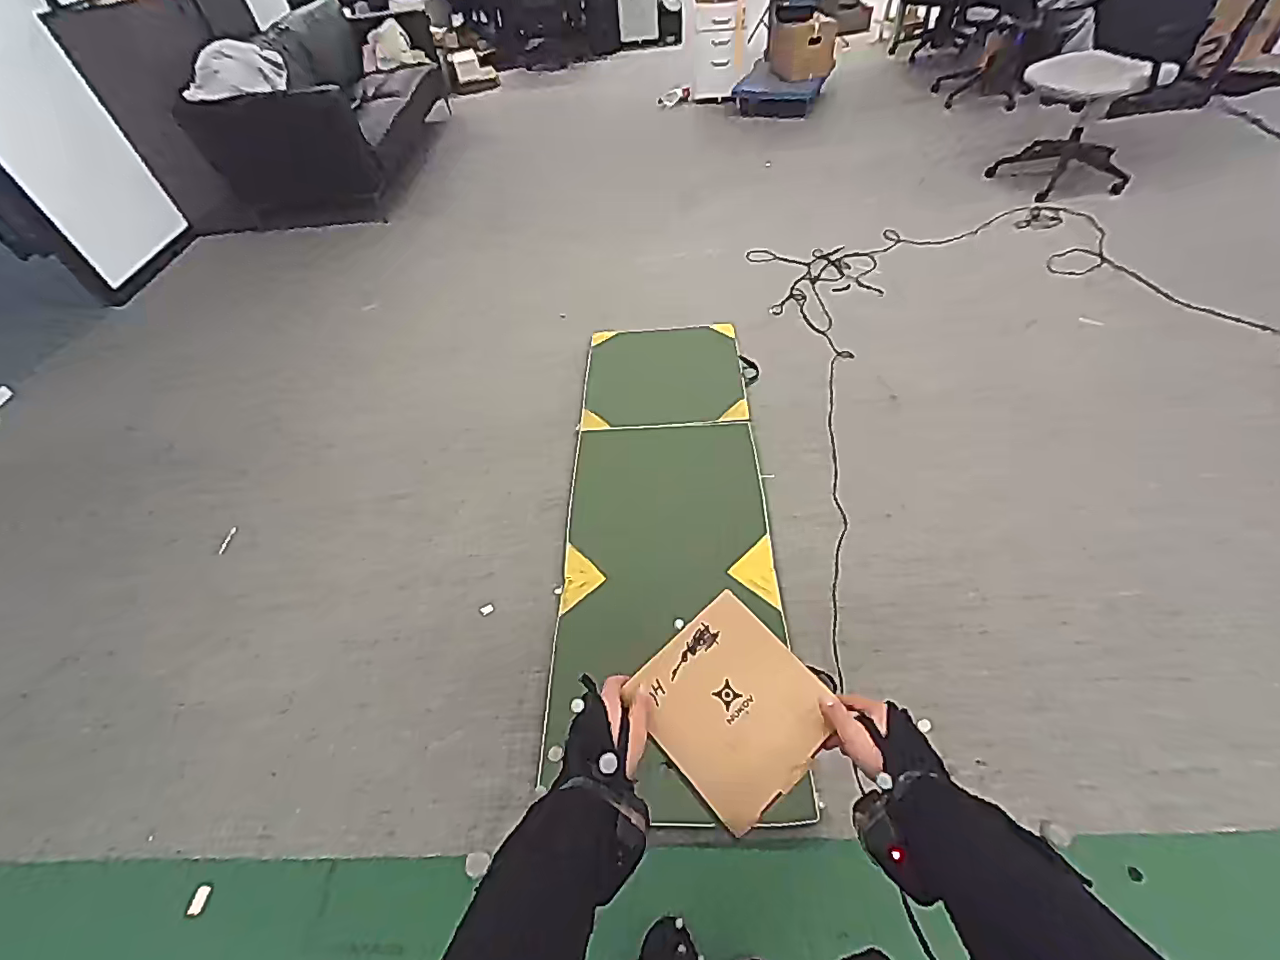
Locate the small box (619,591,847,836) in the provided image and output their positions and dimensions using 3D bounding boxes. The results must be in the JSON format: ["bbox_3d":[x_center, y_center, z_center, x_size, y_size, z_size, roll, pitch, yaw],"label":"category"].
[{"bbox_3d":[0.095,0.262,0.623,0.168,0.176,0.179,-38,68,-18],"label":"small box"}]
